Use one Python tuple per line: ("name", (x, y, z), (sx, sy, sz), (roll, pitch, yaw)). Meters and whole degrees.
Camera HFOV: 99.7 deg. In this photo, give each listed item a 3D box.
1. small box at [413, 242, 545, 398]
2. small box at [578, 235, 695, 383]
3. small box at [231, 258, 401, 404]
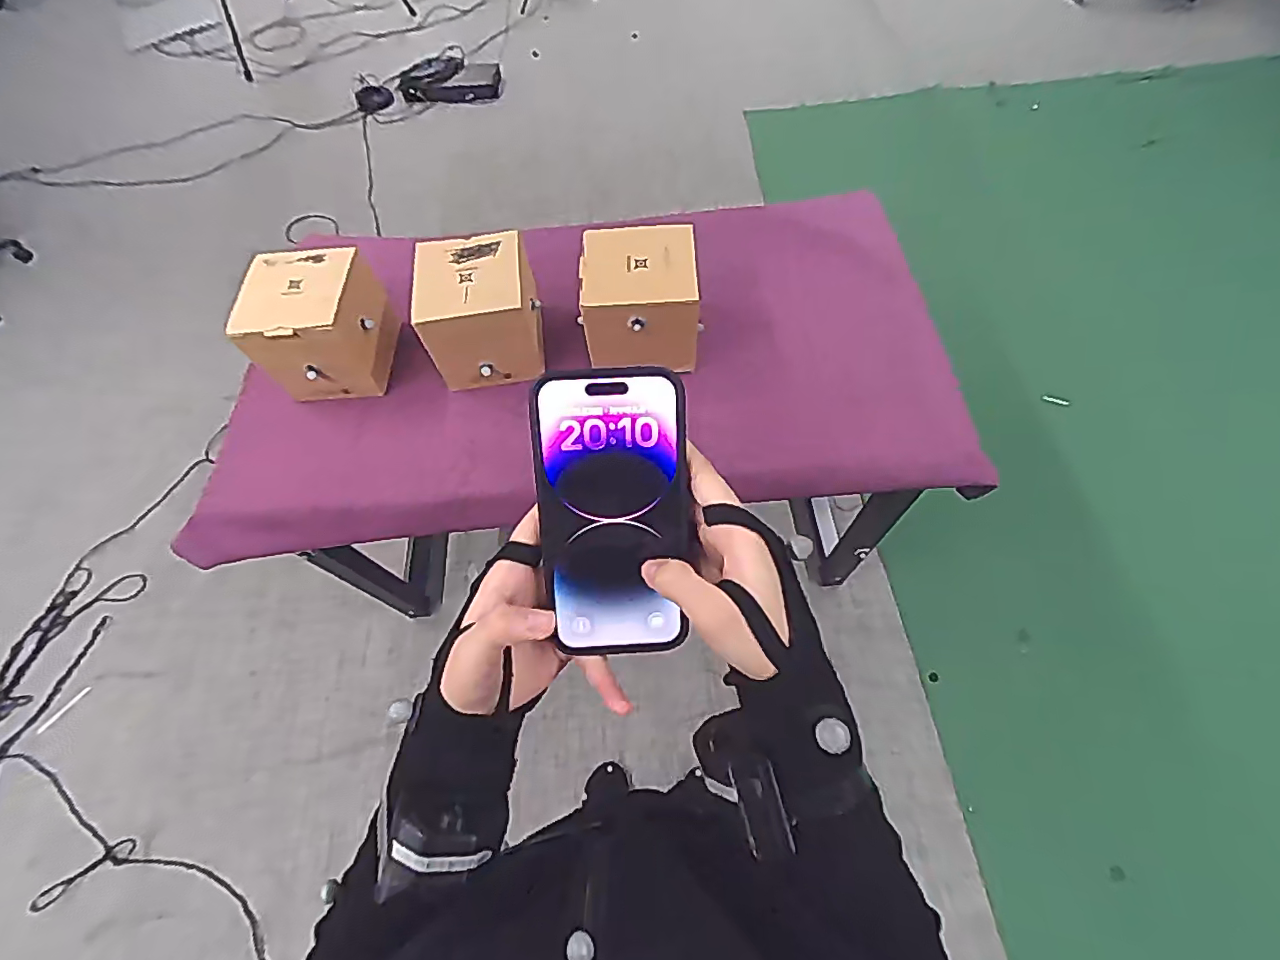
("small box", (-0.259, -0.263, 0.903), (0.168, 0.176, 0.179), (-8, 62, -1))
("small box", (0.001, -0.275, 0.894), (0.179, 0.176, 0.168), (-2, 62, 3))
("small box", (-0.526, -0.241, 0.909), (0.168, 0.176, 0.179), (-4, 62, 2))
